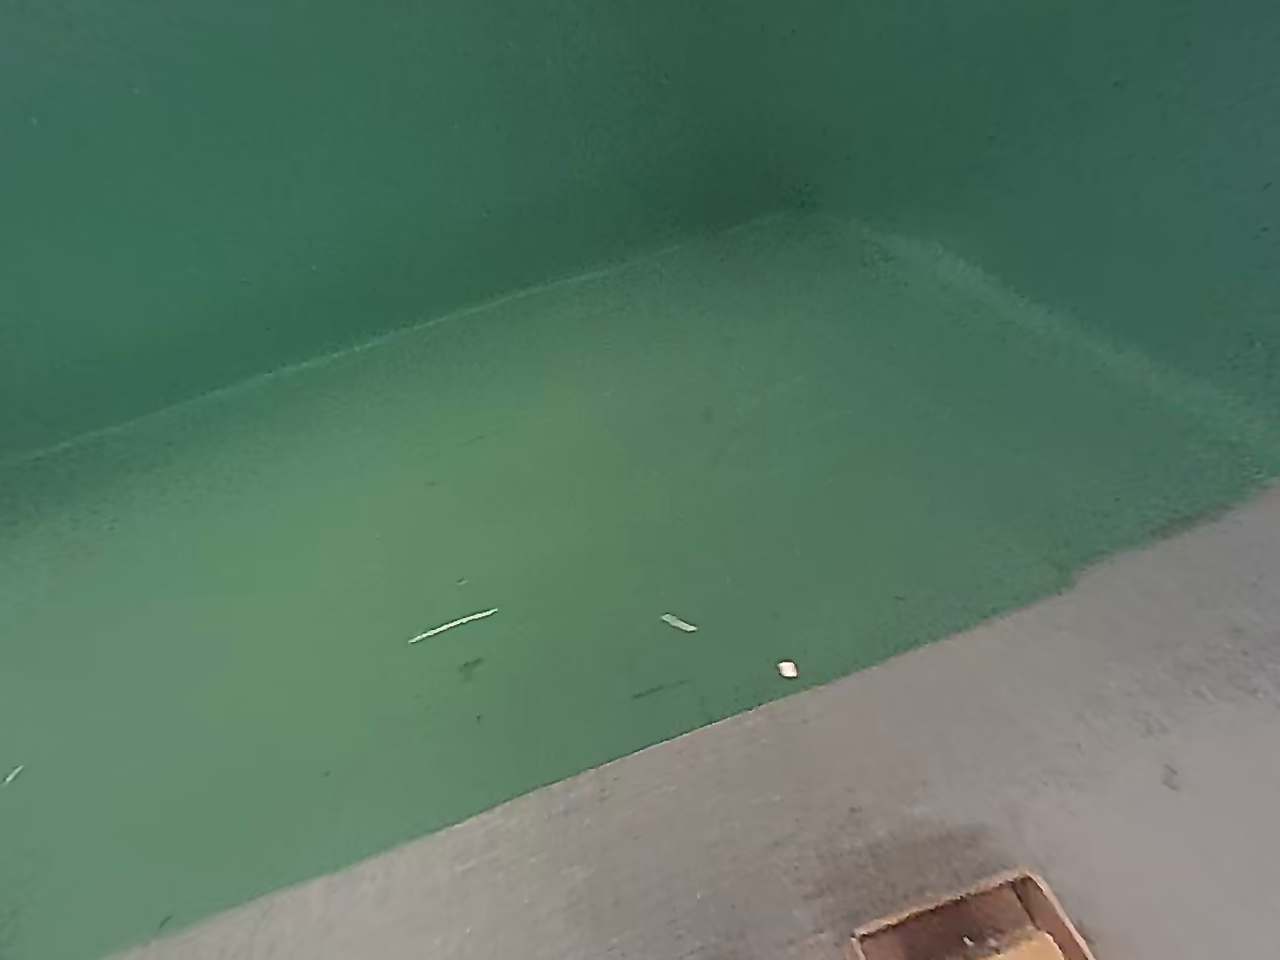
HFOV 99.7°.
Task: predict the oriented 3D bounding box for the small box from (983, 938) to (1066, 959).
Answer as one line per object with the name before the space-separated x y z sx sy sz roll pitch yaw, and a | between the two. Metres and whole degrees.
small box | 0.619 0.870 0.861 0.179 0.176 0.168 -20 46 -4
